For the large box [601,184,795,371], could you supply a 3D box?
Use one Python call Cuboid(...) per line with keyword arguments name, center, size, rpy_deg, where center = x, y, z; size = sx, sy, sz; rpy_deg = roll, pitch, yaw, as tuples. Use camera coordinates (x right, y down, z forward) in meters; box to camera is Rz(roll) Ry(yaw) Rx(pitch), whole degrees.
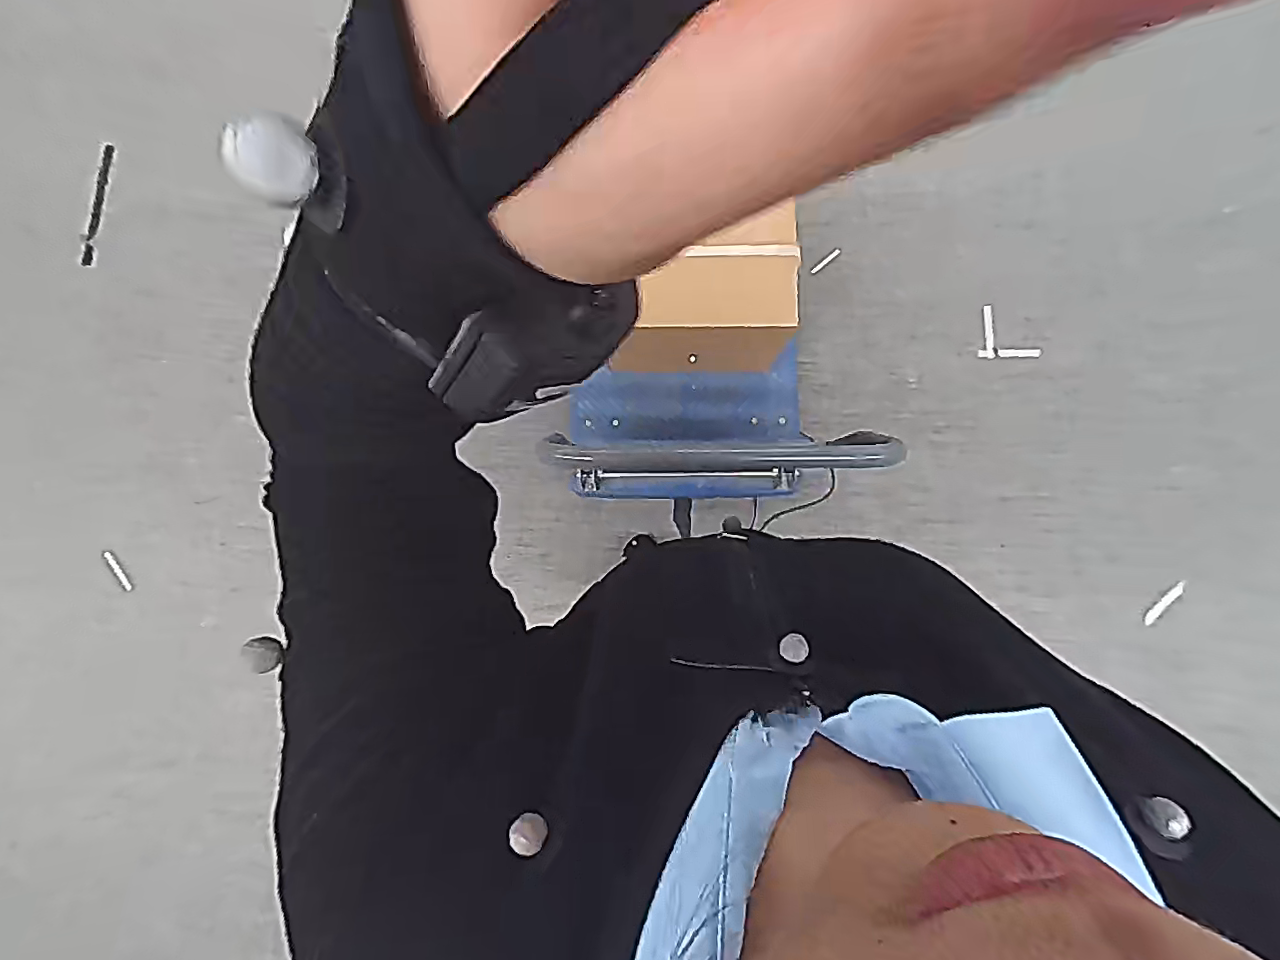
Cuboid(name="large box", center=(0.125, -0.452, 1.274), size=(0.408, 0.320, 0.320), rpy_deg=(0, 83, 3))
